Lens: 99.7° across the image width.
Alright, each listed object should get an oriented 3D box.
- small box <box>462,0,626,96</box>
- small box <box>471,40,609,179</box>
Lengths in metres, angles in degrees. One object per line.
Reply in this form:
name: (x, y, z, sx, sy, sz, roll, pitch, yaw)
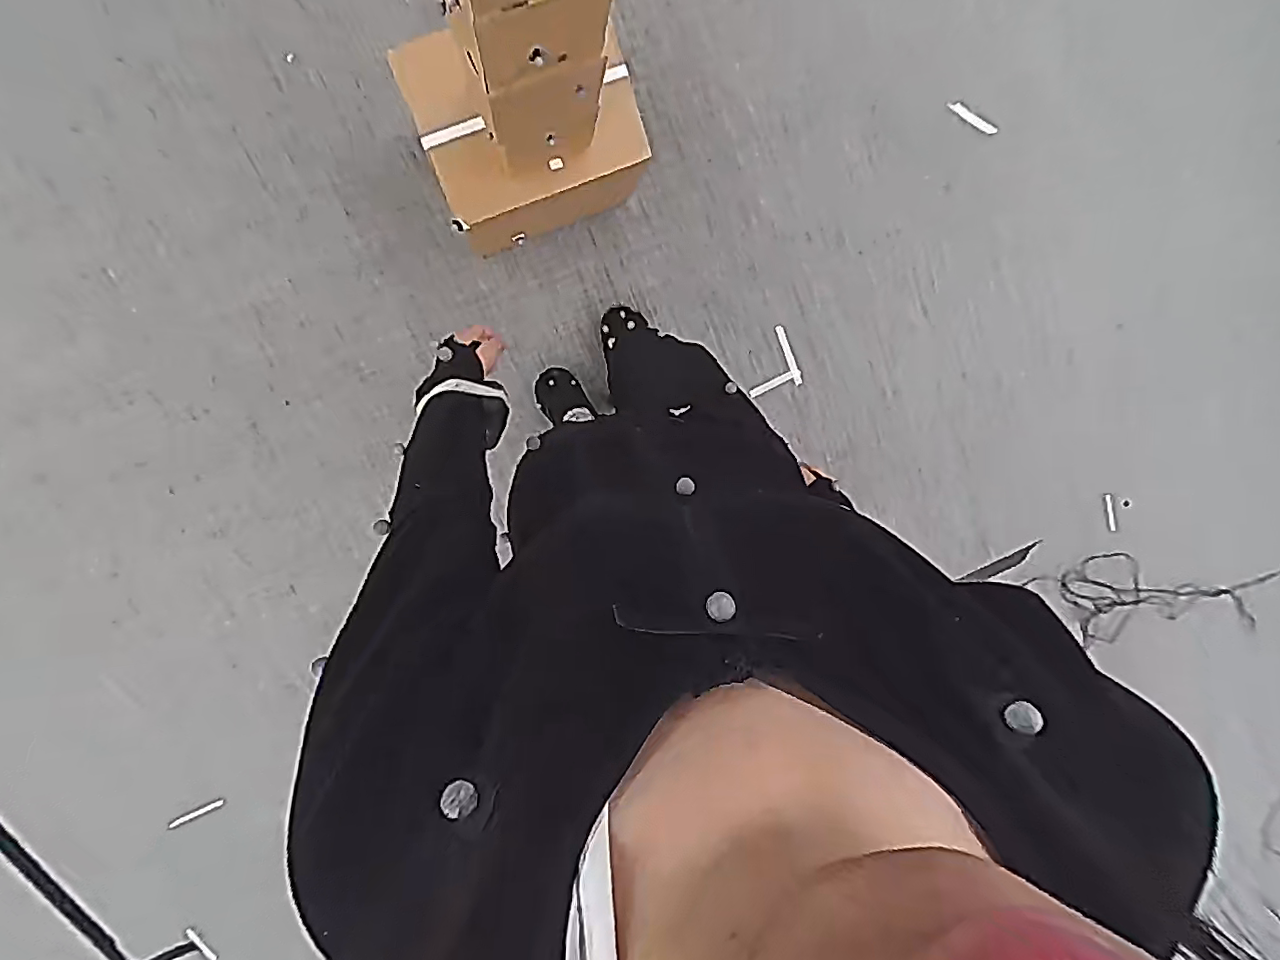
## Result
small box: (-0.128, -0.599, 0.627, 0.168, 0.176, 0.179, -23, 105, -4)
small box: (-0.171, -0.658, 0.946, 0.179, 0.176, 0.168, -24, 105, -5)
